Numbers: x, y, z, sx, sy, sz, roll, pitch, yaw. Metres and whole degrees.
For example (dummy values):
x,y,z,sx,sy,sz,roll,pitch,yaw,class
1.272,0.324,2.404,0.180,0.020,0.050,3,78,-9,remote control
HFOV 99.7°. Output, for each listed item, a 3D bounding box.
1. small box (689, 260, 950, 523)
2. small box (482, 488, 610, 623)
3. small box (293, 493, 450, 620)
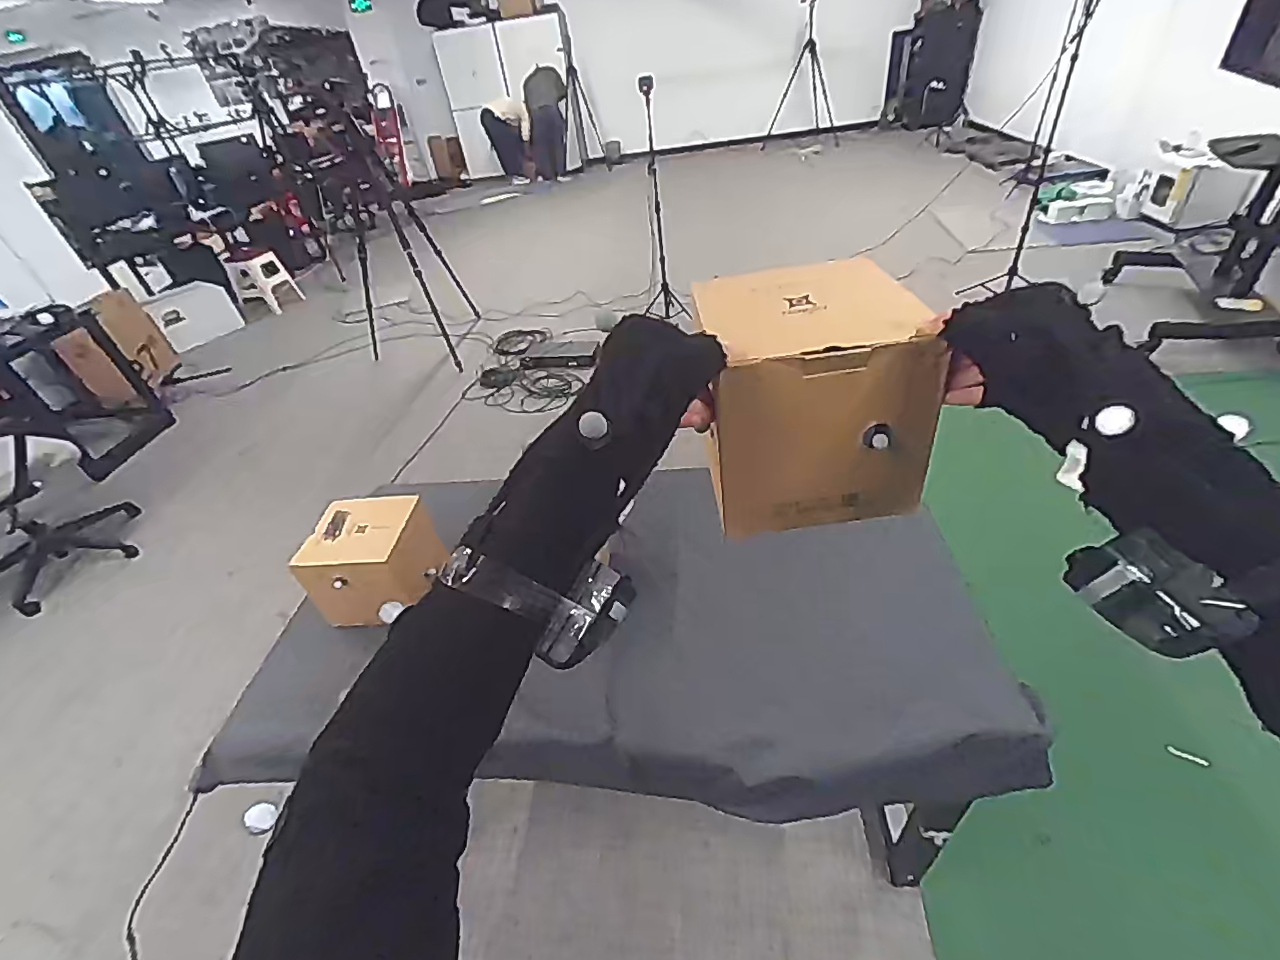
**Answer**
x,y,z,sx,sy,sz,roll,pitch,yaw,class
0.139,-0.075,0.481,0.168,0.176,0.179,-7,37,3,small box
-0.153,0.135,0.950,0.168,0.176,0.179,-2,40,8,small box
-0.481,0.144,0.998,0.179,0.176,0.168,-3,40,5,small box
